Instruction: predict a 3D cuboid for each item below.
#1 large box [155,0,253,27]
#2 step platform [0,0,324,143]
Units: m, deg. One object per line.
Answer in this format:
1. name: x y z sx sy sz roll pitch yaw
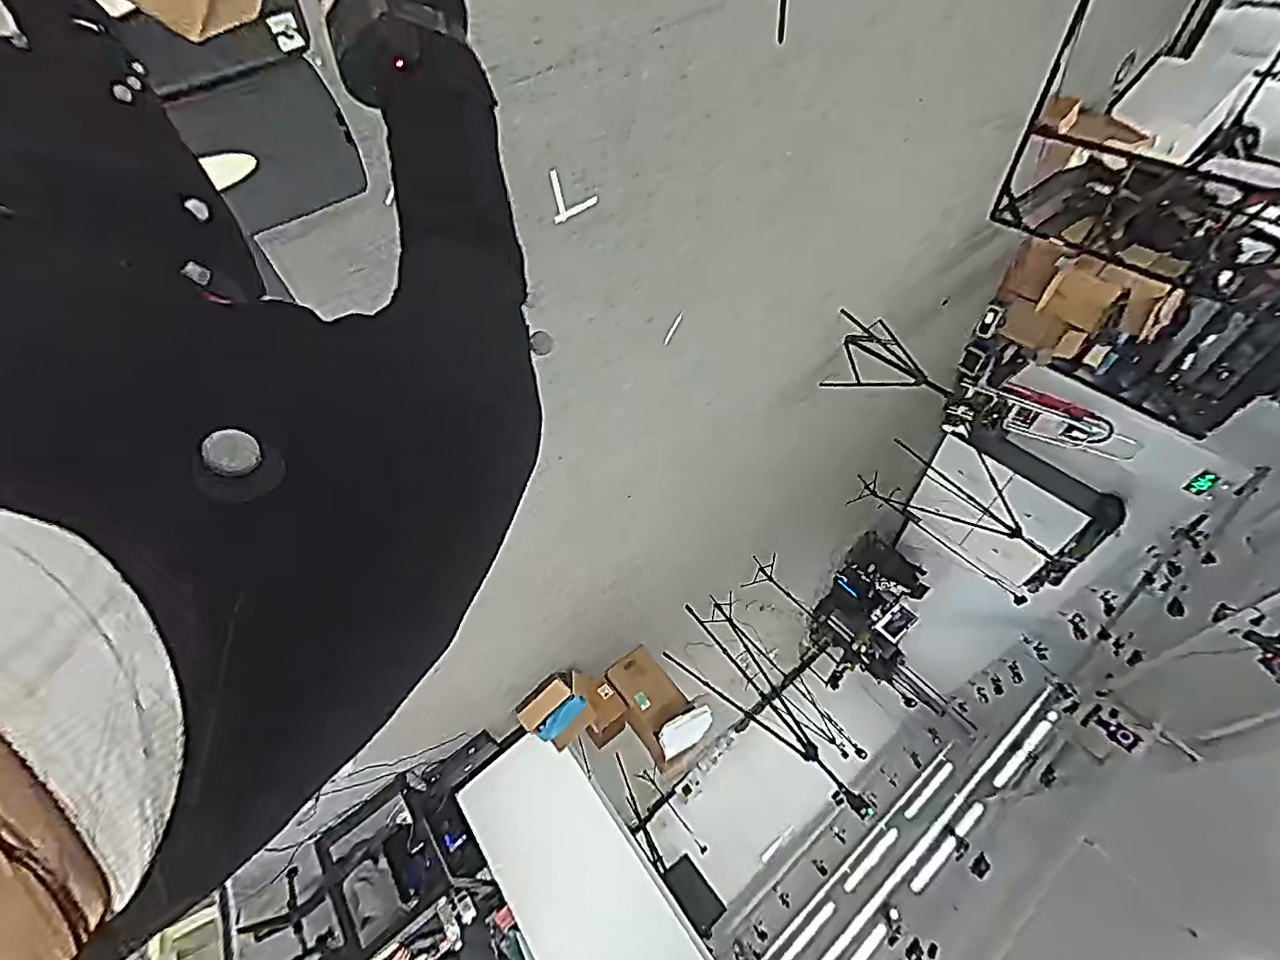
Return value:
1. large box: -0.398 -0.547 0.270 0.408 0.320 0.320 18 121 -40
2. step platform: -0.910 -0.806 0.880 0.684 0.204 0.286 -36 147 -18
